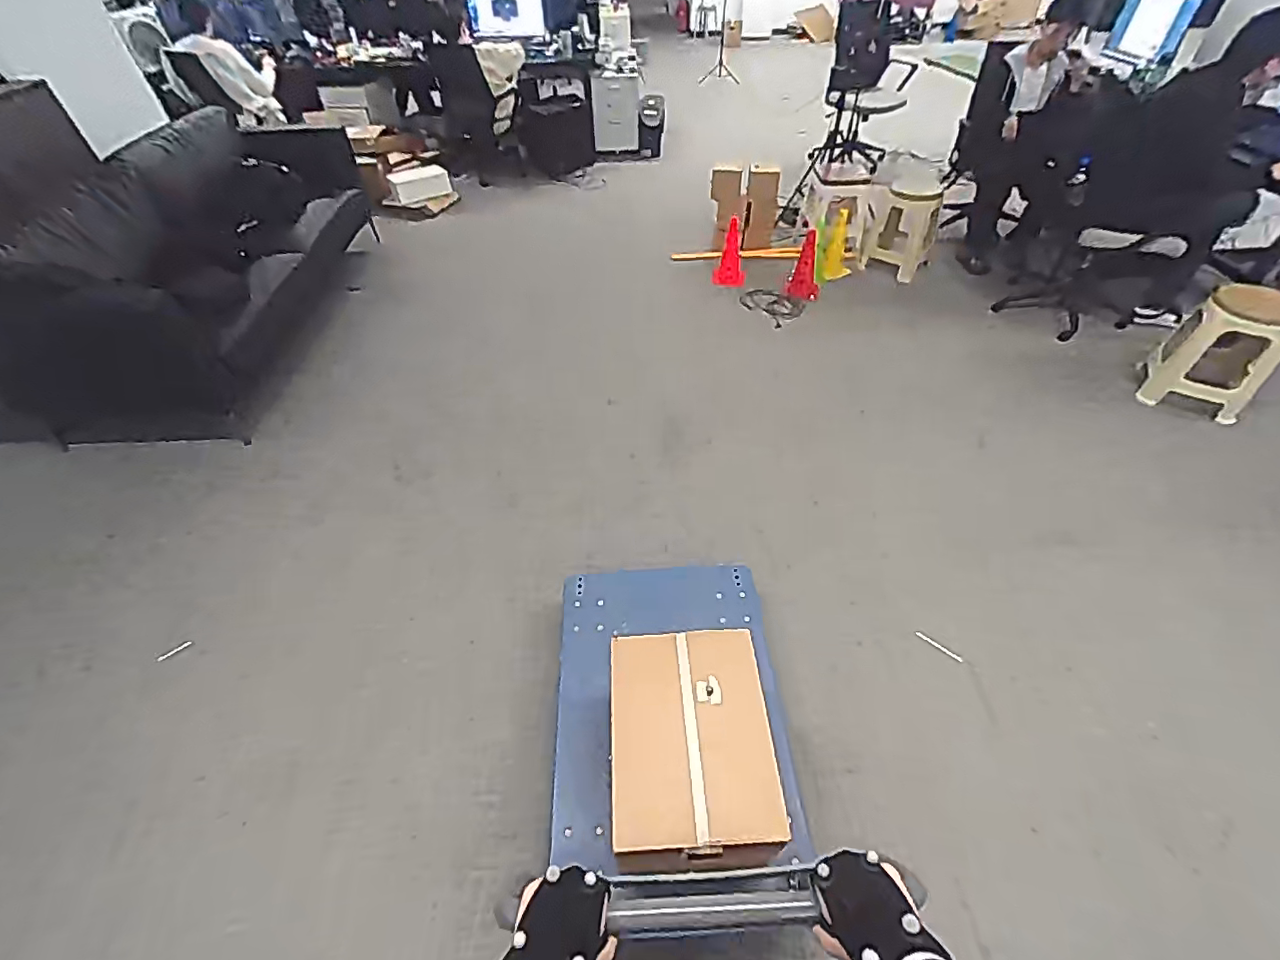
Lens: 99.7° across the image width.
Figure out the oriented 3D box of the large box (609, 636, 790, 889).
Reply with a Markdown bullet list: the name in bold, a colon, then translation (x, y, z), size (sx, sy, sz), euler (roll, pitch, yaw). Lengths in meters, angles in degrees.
- **large box**: translation (0.103, 0.607, 1.175), size (0.320, 0.320, 0.408), euler (-3, 45, -1)
